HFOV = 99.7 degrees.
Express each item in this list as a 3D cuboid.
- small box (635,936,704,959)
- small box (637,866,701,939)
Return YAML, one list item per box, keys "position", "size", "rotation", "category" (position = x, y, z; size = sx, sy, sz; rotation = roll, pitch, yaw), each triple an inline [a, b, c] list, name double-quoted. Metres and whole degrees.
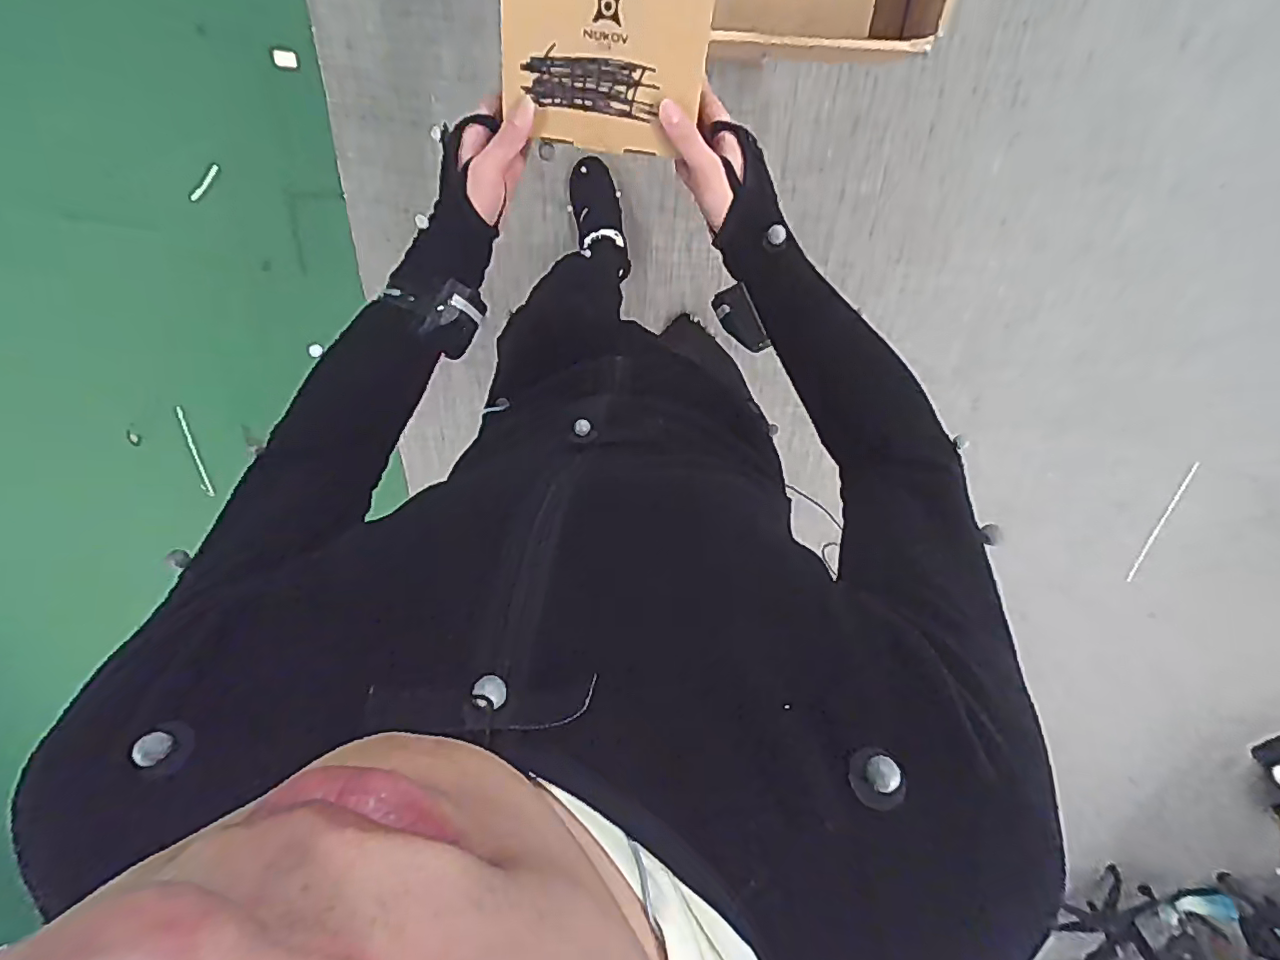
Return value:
- position: [0.076, 1.290, 1.369]
  size: [0.179, 0.176, 0.168]
  rotation: [0, 119, 1]
  category: "small box"
- position: [0.075, 1.212, 1.512]
  size: [0.168, 0.176, 0.179]
  rotation: [0, 121, 0]
  category: "small box"
